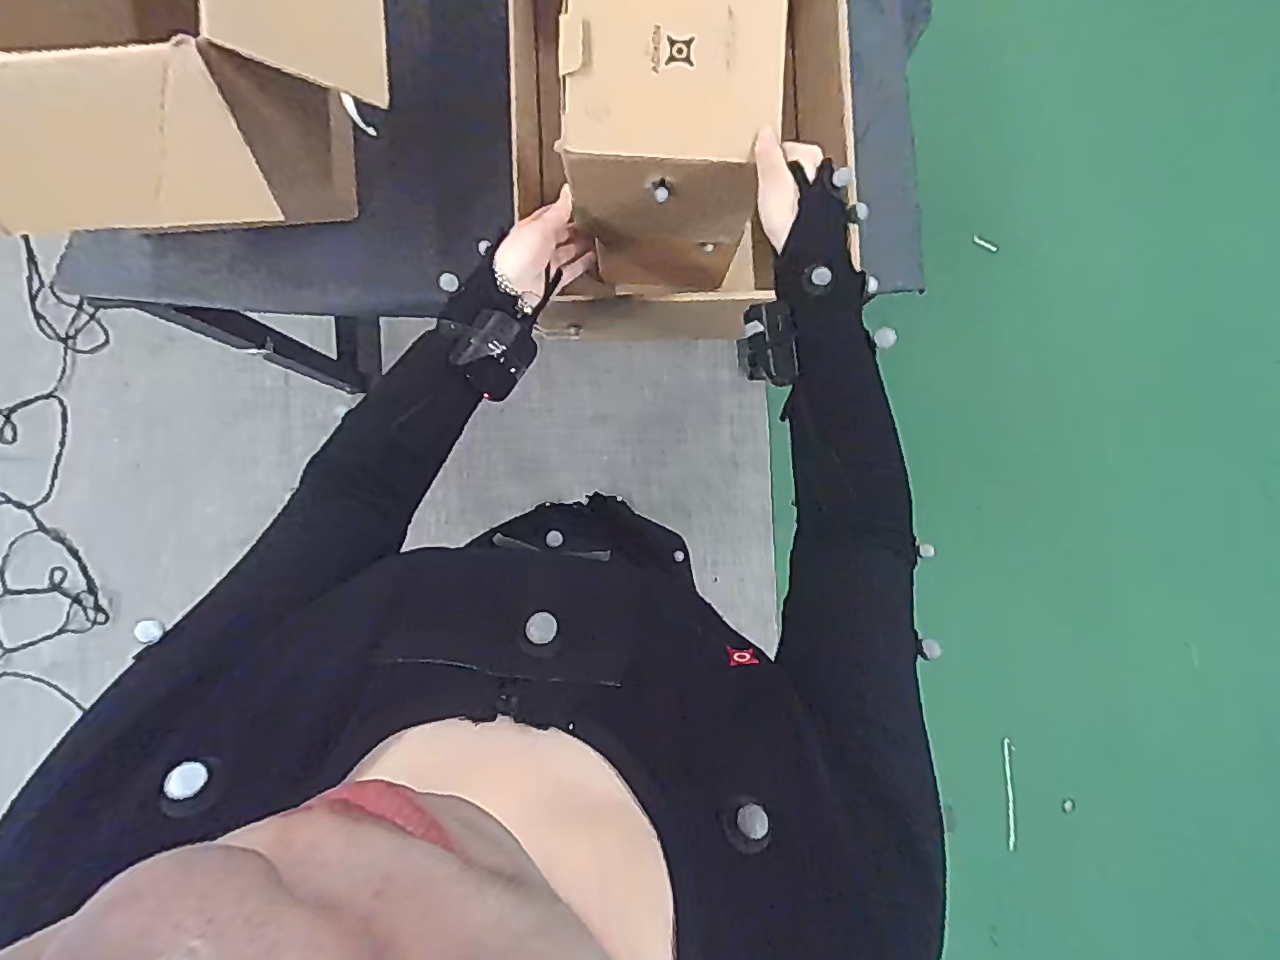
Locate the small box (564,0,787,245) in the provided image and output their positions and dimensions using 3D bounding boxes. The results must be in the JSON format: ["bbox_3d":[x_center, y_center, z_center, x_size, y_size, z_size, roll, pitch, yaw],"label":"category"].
[{"bbox_3d":[0.025,-0.335,0.508,0.179,0.176,0.168,1,94,-3],"label":"small box"}]
